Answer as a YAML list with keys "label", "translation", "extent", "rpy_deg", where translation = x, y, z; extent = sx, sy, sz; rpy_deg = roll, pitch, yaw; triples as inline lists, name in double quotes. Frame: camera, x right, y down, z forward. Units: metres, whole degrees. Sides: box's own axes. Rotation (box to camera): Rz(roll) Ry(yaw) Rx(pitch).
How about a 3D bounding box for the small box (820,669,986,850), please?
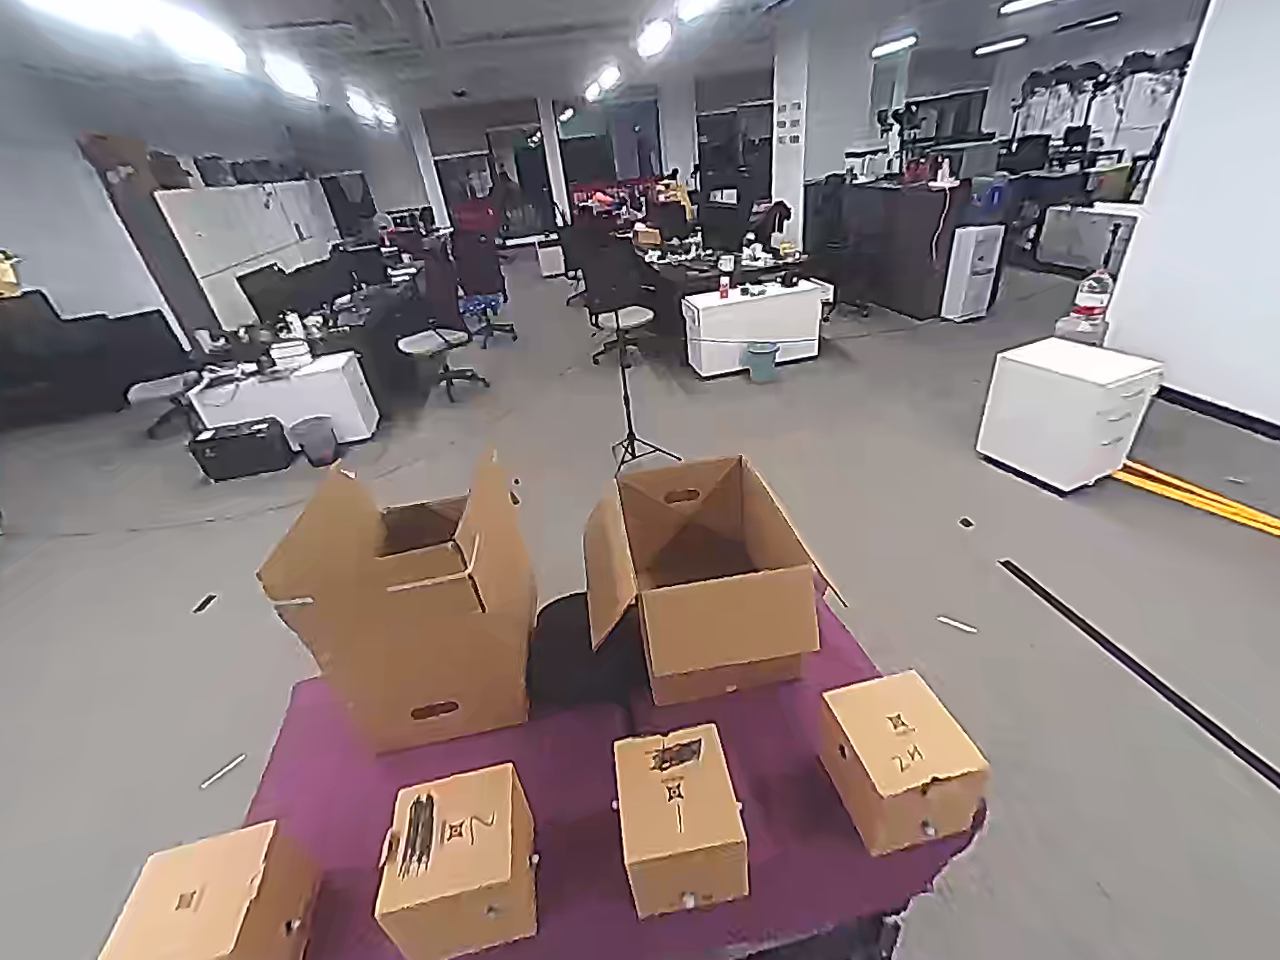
- label: "small box"
  translation: [0.399, 0.440, 0.859]
  extent: [0.168, 0.176, 0.179]
  rpy_deg: [-12, 32, -5]

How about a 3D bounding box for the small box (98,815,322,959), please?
- label: "small box"
  translation: [-0.594, 0.625, 0.768]
  extent: [0.179, 0.176, 0.168]
  rpy_deg: [-11, 31, -9]
